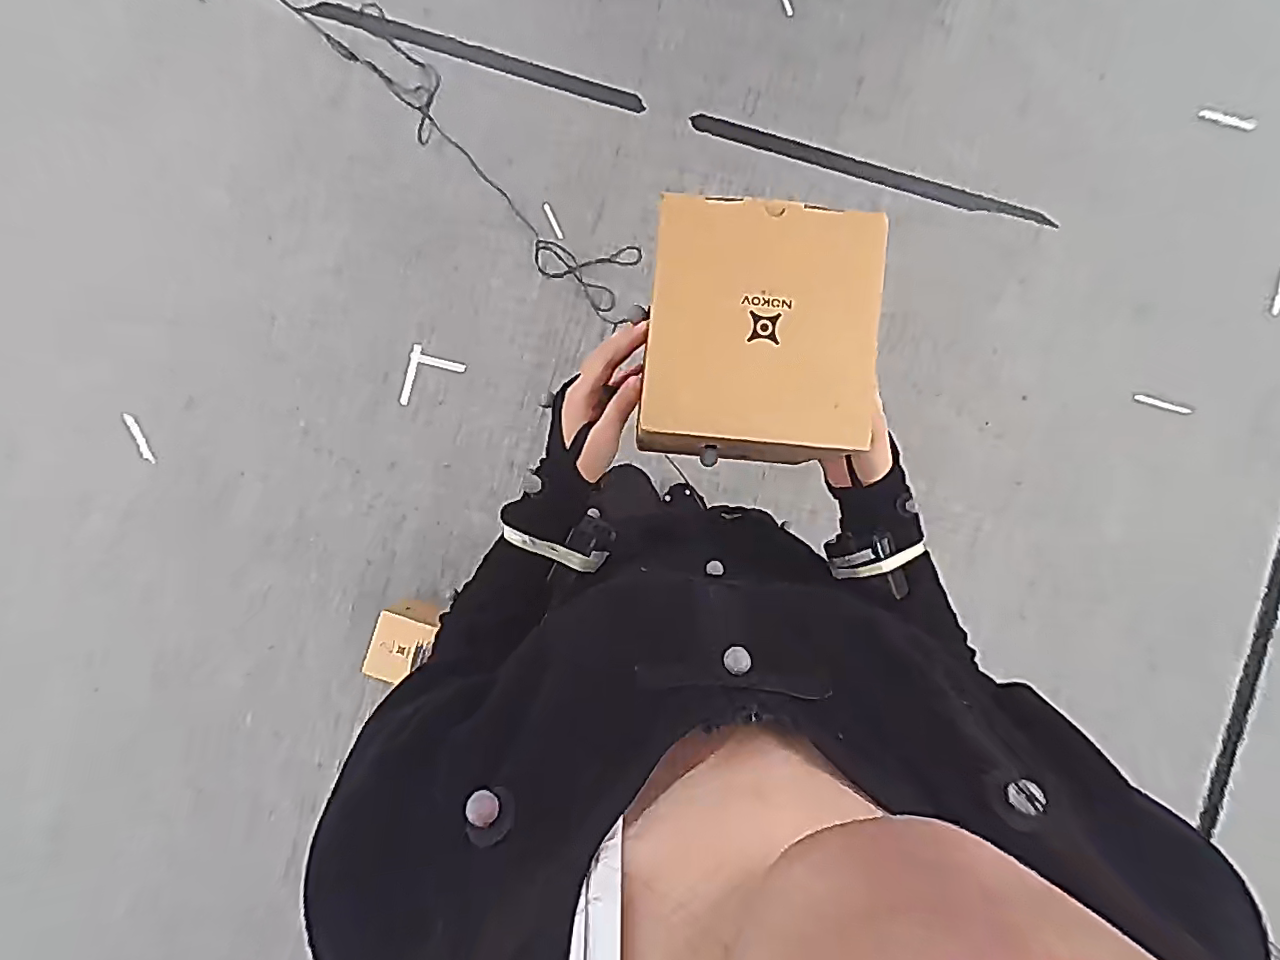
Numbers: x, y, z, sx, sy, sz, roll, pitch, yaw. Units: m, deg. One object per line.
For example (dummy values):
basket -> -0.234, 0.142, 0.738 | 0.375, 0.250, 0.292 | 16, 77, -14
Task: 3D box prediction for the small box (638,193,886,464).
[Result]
small box -> 0.087, -0.109, 0.464 | 0.168, 0.176, 0.179 | 5, 86, -1
